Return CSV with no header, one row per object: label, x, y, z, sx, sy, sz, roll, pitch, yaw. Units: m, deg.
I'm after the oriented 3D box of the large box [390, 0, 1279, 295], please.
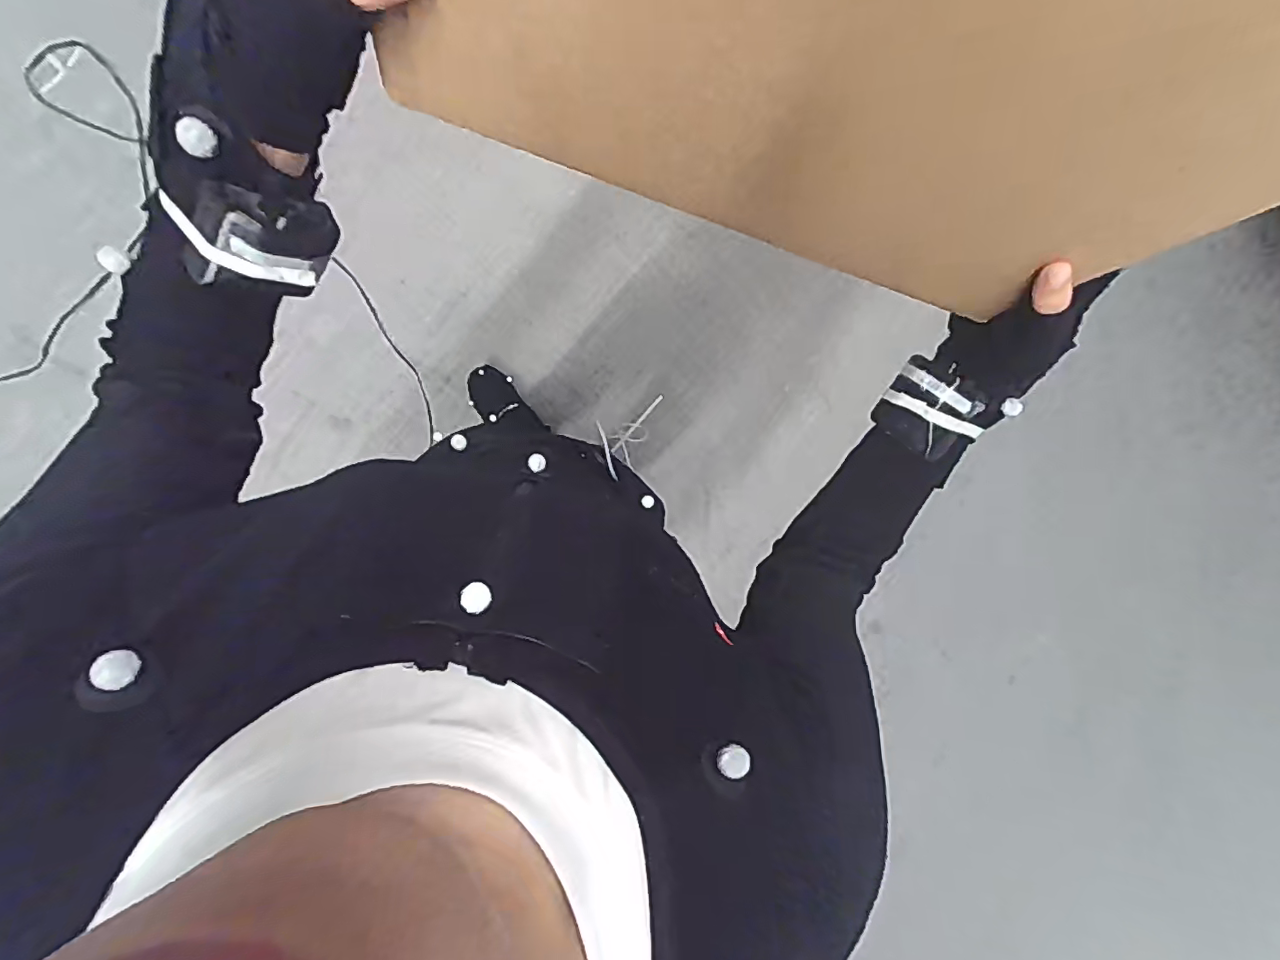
large box,0.130,-0.321,0.208,0.408,0.320,0.320,12,84,-17
